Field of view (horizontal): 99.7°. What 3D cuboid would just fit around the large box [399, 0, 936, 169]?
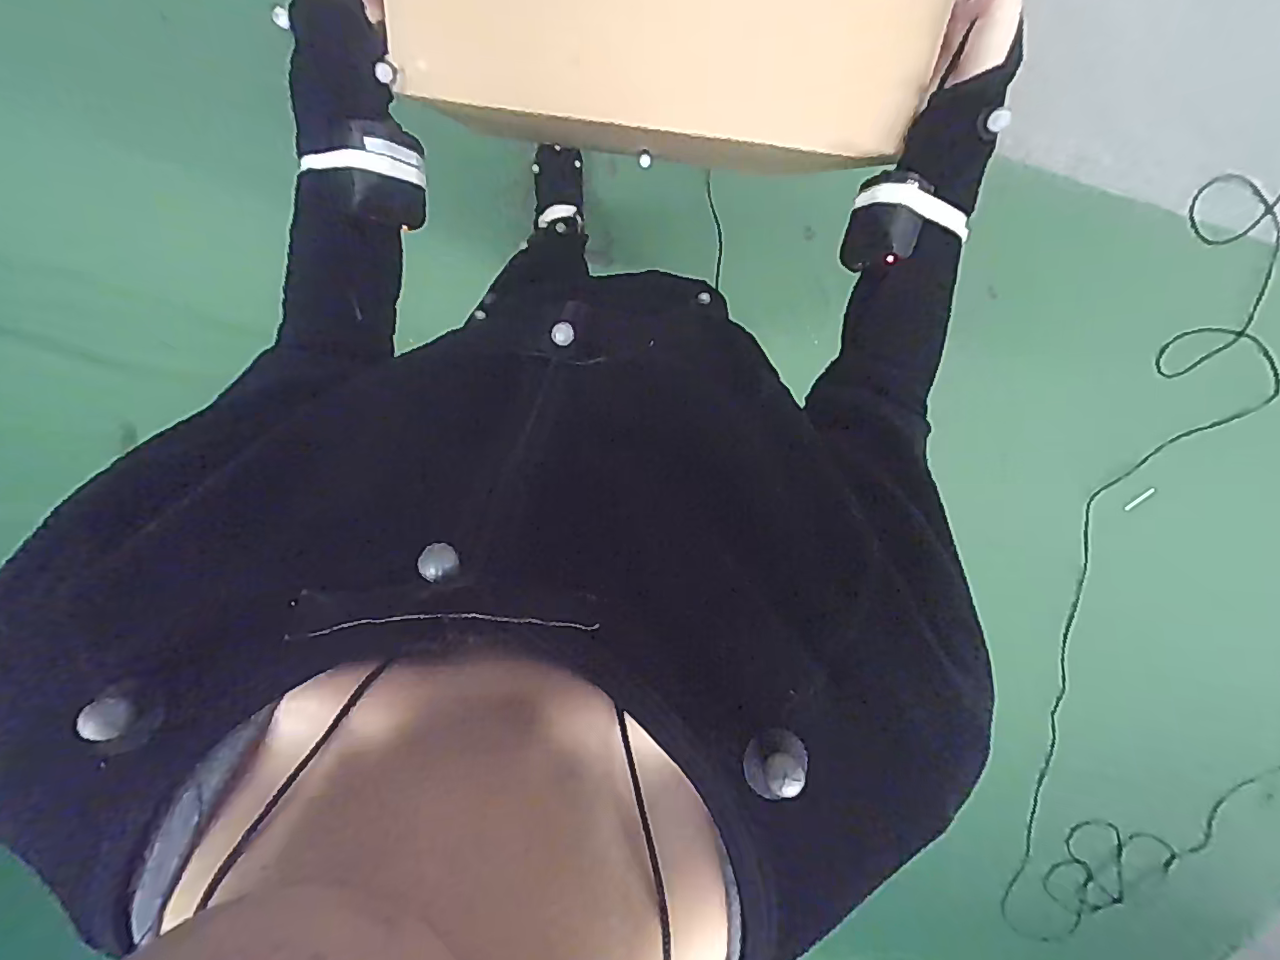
[{"bbox_3d":[0.026,-0.484,0.497,0.408,0.320,0.320,4,117,-5],"label":"large box"}]
